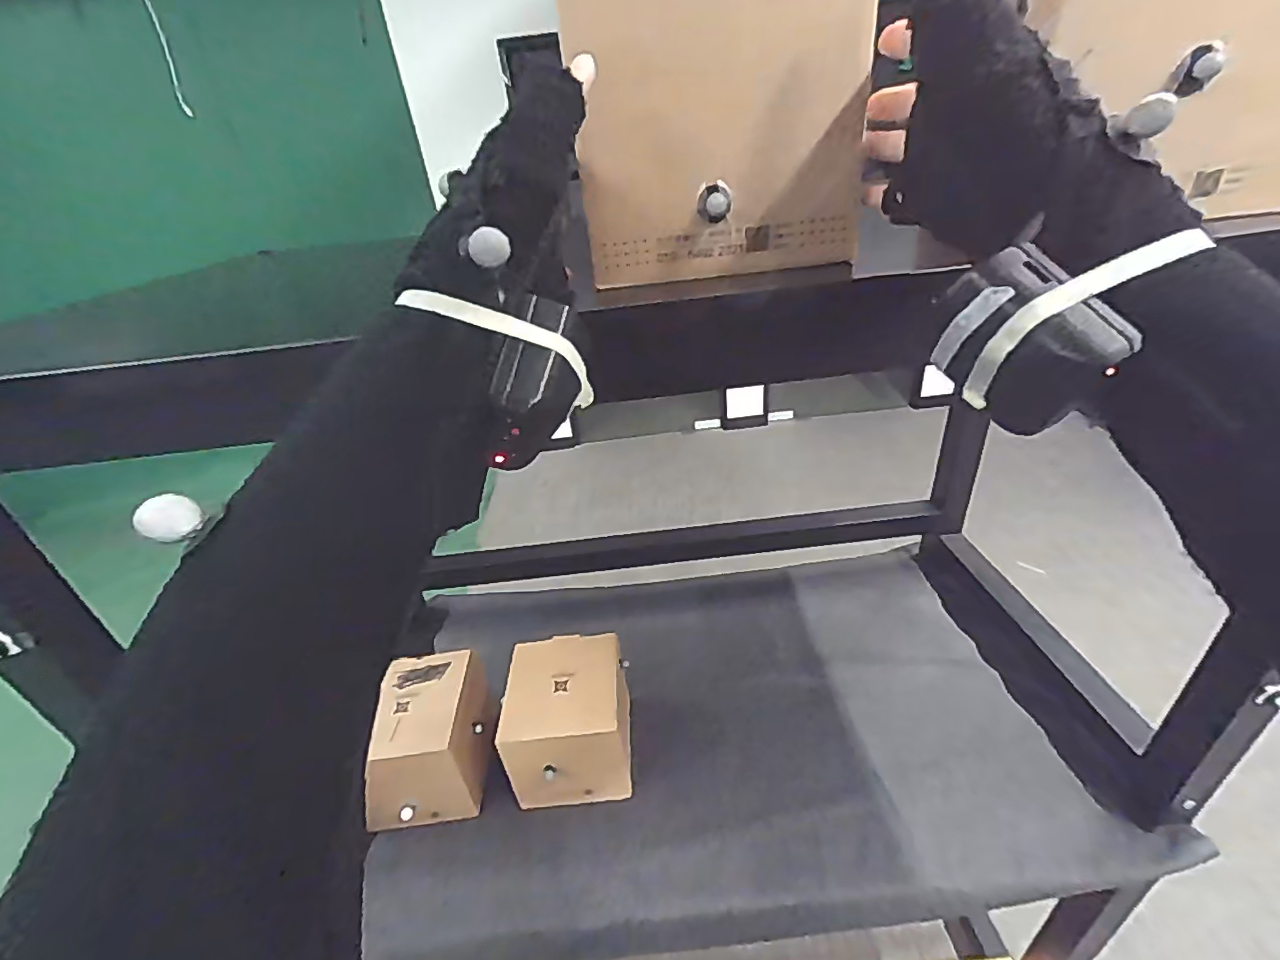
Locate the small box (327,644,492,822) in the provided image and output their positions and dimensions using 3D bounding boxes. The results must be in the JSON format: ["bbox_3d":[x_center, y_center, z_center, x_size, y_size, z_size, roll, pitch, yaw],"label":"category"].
[{"bbox_3d":[-0.333,0.382,0.825,0.168,0.176,0.179,-7,31,-1],"label":"small box"}]

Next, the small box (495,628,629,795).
[{"bbox_3d":[-0.108,0.356,0.828,0.168,0.176,0.179,-6,30,1],"label":"small box"}]
